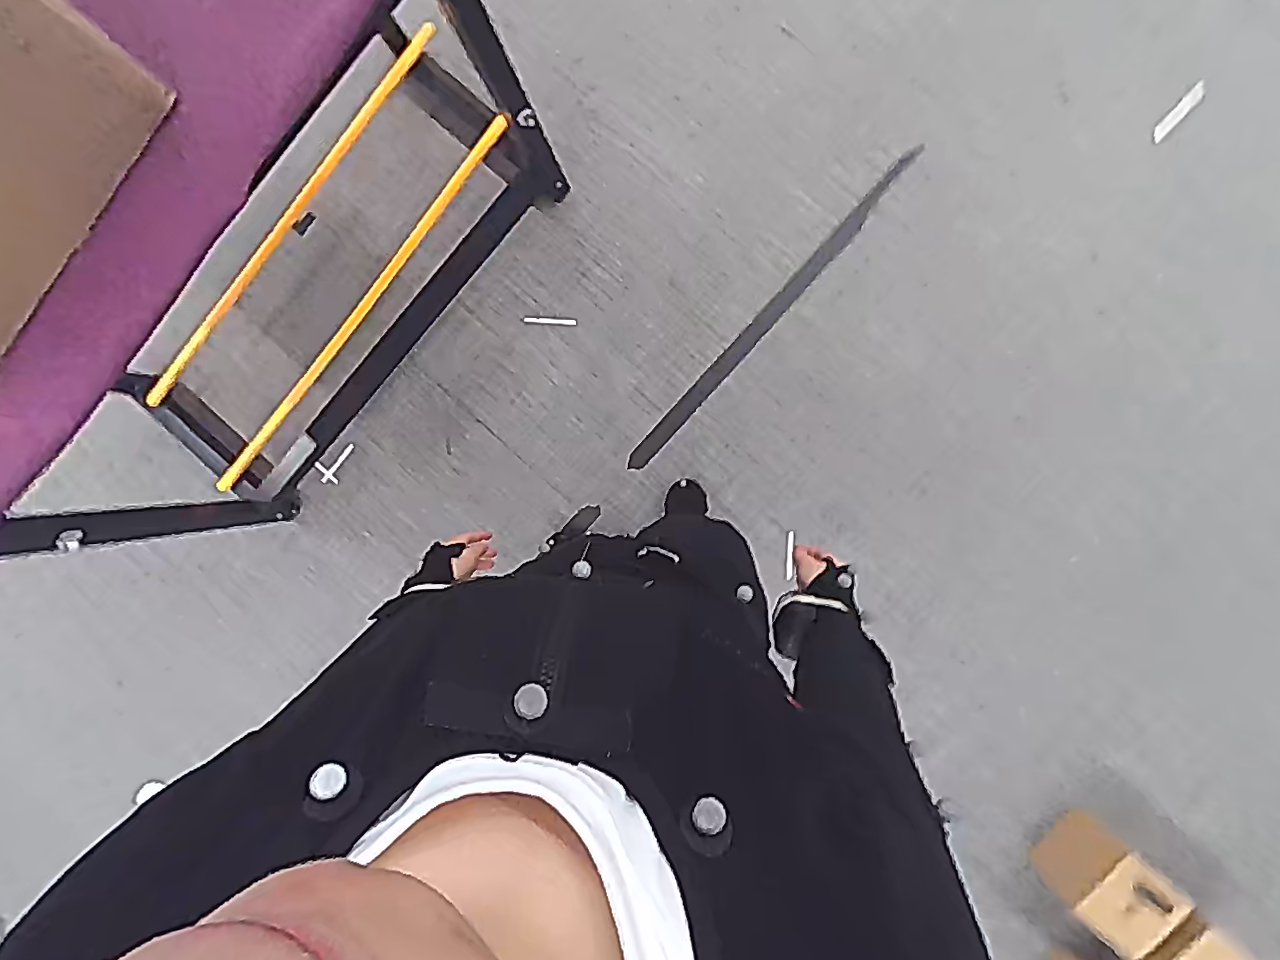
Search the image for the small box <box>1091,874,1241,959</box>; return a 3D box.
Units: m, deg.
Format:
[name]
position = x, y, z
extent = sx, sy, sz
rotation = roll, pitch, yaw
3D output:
[small box]
position = 1.188, 1.053, 1.207
extent = 0.168, 0.176, 0.179
rotation = 43, 95, 3
